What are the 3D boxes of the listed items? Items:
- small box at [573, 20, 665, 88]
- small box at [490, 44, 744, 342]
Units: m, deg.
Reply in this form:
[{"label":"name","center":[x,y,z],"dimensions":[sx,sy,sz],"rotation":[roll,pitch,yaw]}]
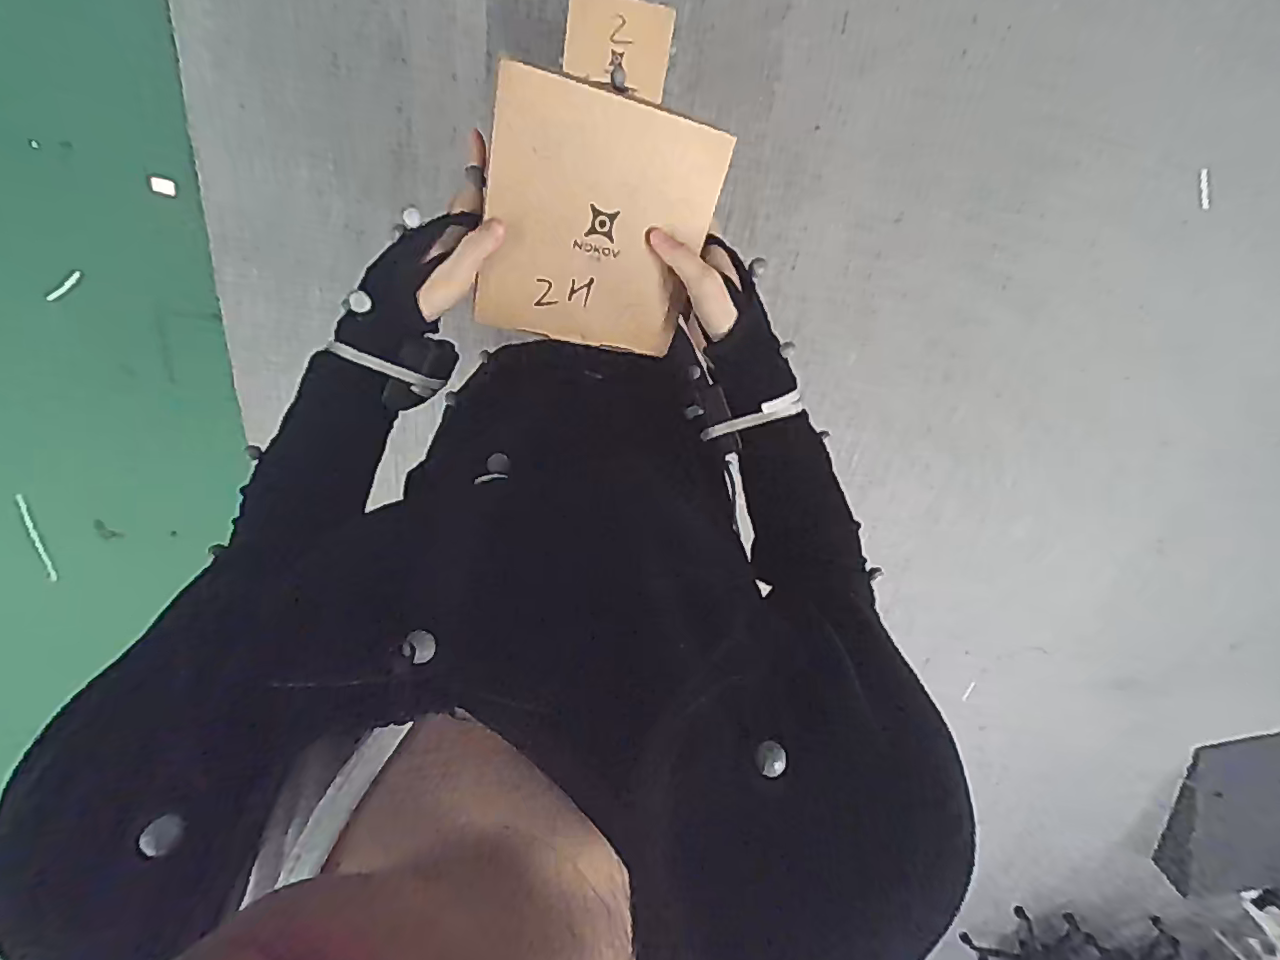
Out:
[{"label":"small box","center":[-0.059,-0.769,1.084],"dimensions":[0.168,0.176,0.179],"rotation":[12,118,-10]},{"label":"small box","center":[-0.038,-0.249,0.474],"dimensions":[0.168,0.176,0.179],"rotation":[6,127,-18]}]
